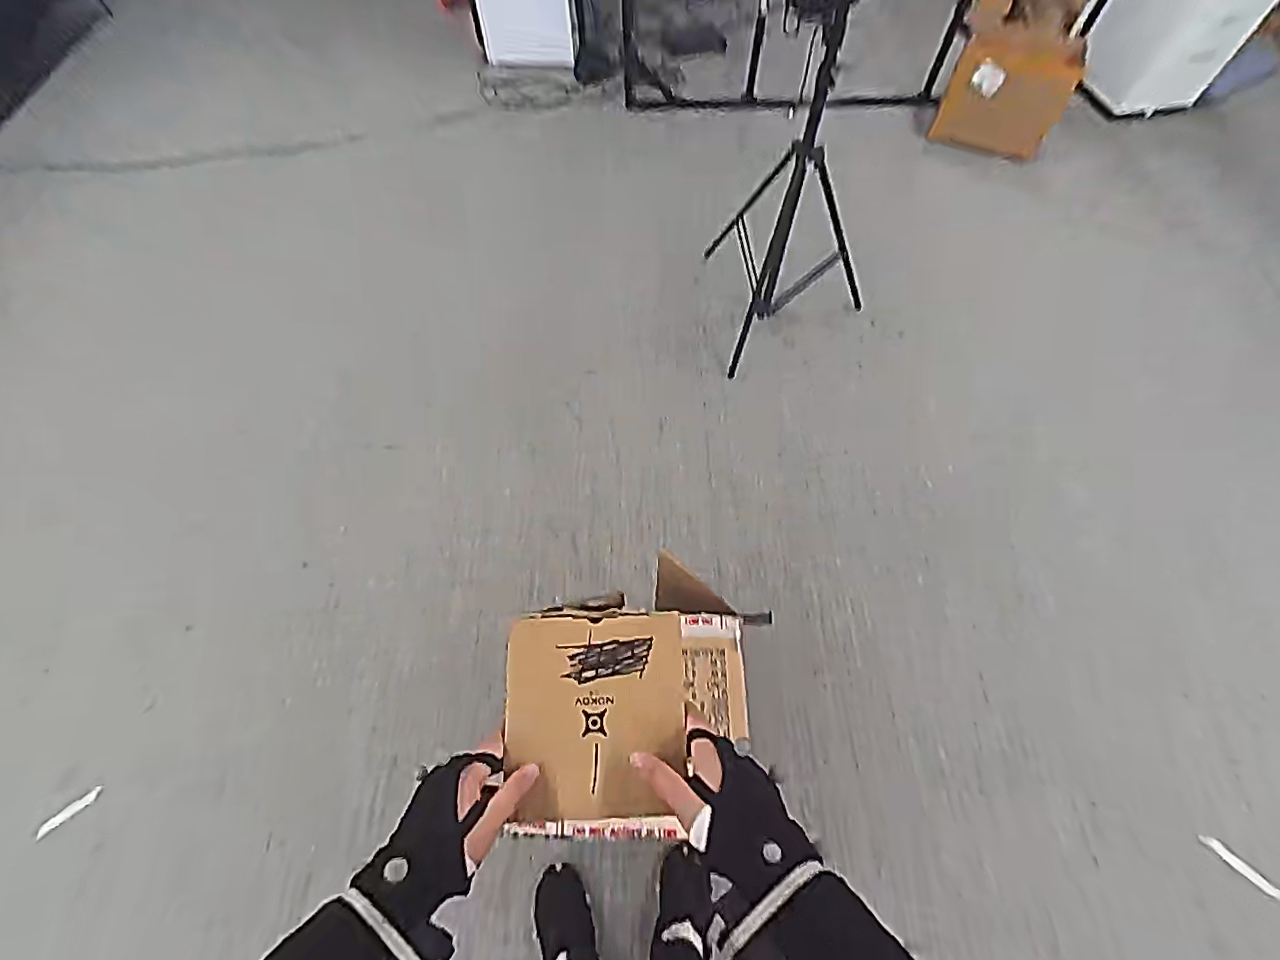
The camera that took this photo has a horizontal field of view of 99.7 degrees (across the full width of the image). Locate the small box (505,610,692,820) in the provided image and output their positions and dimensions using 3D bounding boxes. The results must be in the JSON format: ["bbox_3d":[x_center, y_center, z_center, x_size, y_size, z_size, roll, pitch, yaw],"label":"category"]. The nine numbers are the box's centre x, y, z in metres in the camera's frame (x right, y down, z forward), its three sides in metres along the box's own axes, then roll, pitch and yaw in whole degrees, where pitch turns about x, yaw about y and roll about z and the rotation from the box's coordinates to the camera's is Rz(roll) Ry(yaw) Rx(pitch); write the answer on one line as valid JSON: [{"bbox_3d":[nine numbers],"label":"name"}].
[{"bbox_3d":[-0.039,0.231,0.567,0.168,0.176,0.179,-1,75,-2],"label":"small box"}]
